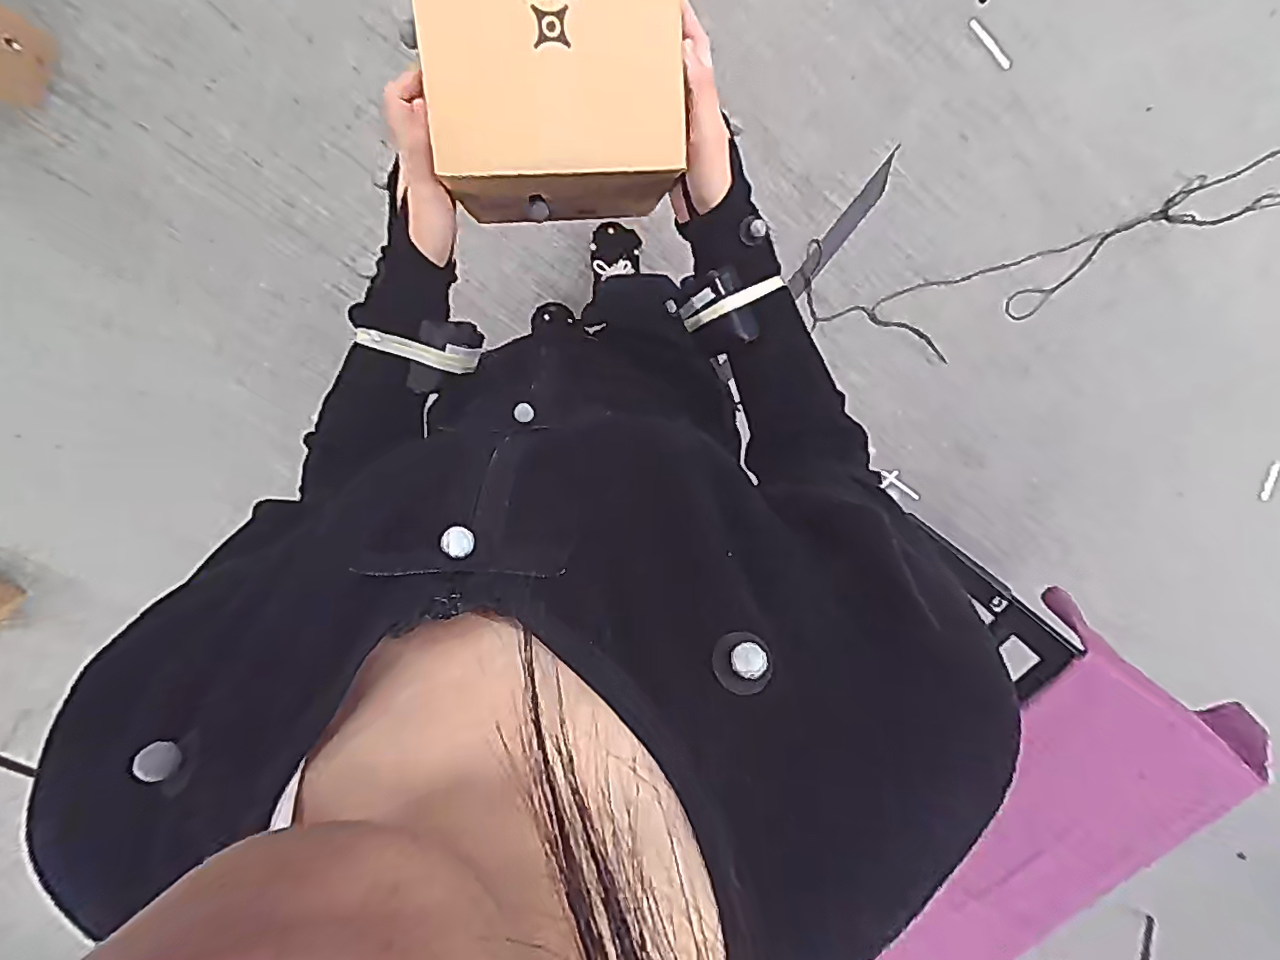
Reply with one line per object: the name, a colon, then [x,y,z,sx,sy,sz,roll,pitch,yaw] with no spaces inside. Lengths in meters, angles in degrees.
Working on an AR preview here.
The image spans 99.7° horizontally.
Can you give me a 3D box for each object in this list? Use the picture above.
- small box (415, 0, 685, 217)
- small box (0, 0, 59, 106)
small box: [-0.062,-0.307,0.409,0.168,0.176,0.179,-5,105,-5]
small box: [-1.308,-0.866,1.048,0.179,0.176,0.168,30,106,-13]
